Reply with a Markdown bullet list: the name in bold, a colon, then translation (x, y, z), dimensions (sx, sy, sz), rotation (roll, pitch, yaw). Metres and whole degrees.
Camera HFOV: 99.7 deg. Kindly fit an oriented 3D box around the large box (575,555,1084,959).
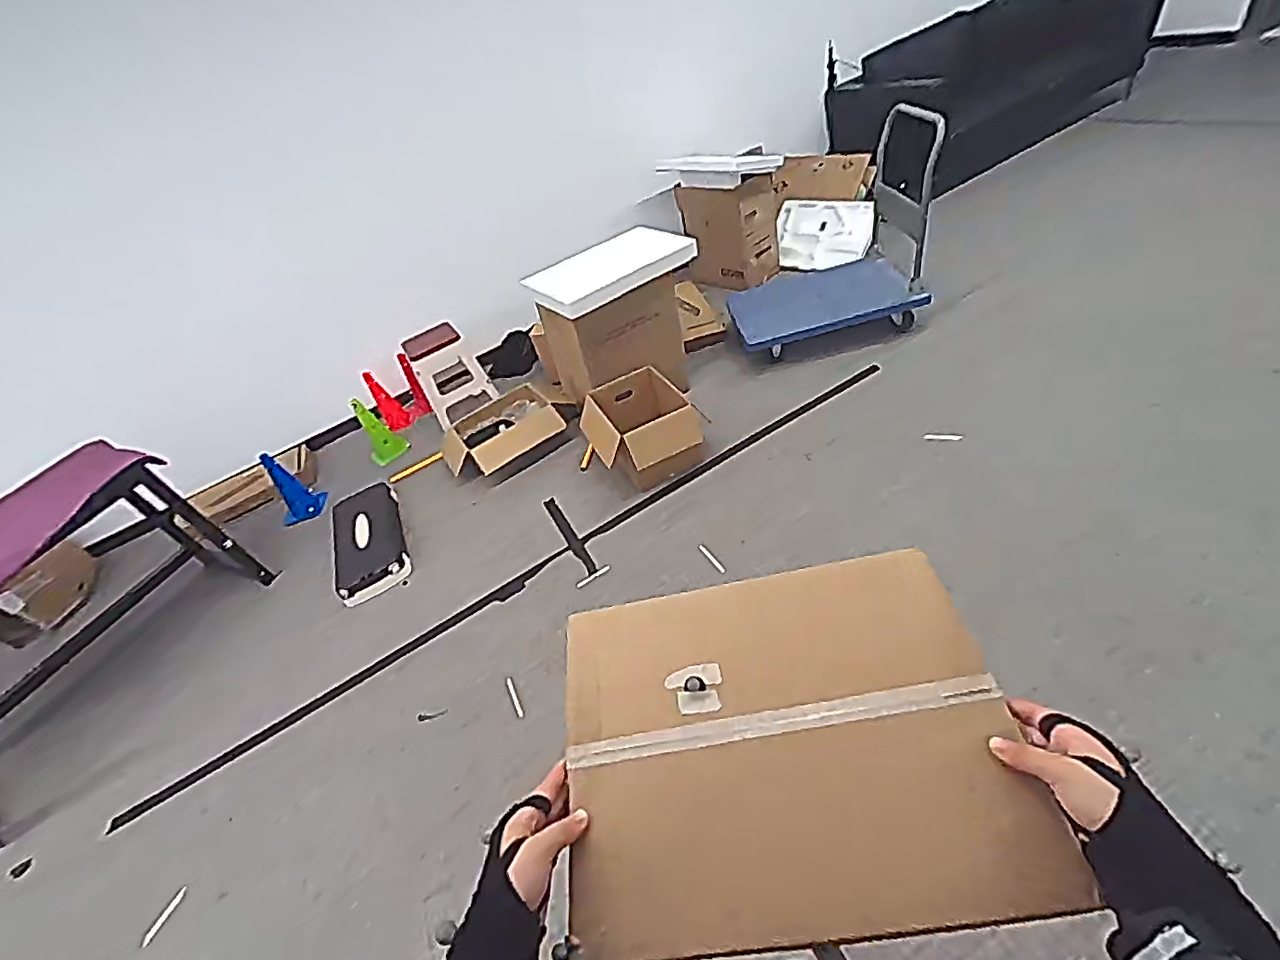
- **large box**: translation (0.166, 0.335, 0.632), dimensions (0.408, 0.320, 0.320), rotation (-13, 46, 7)
